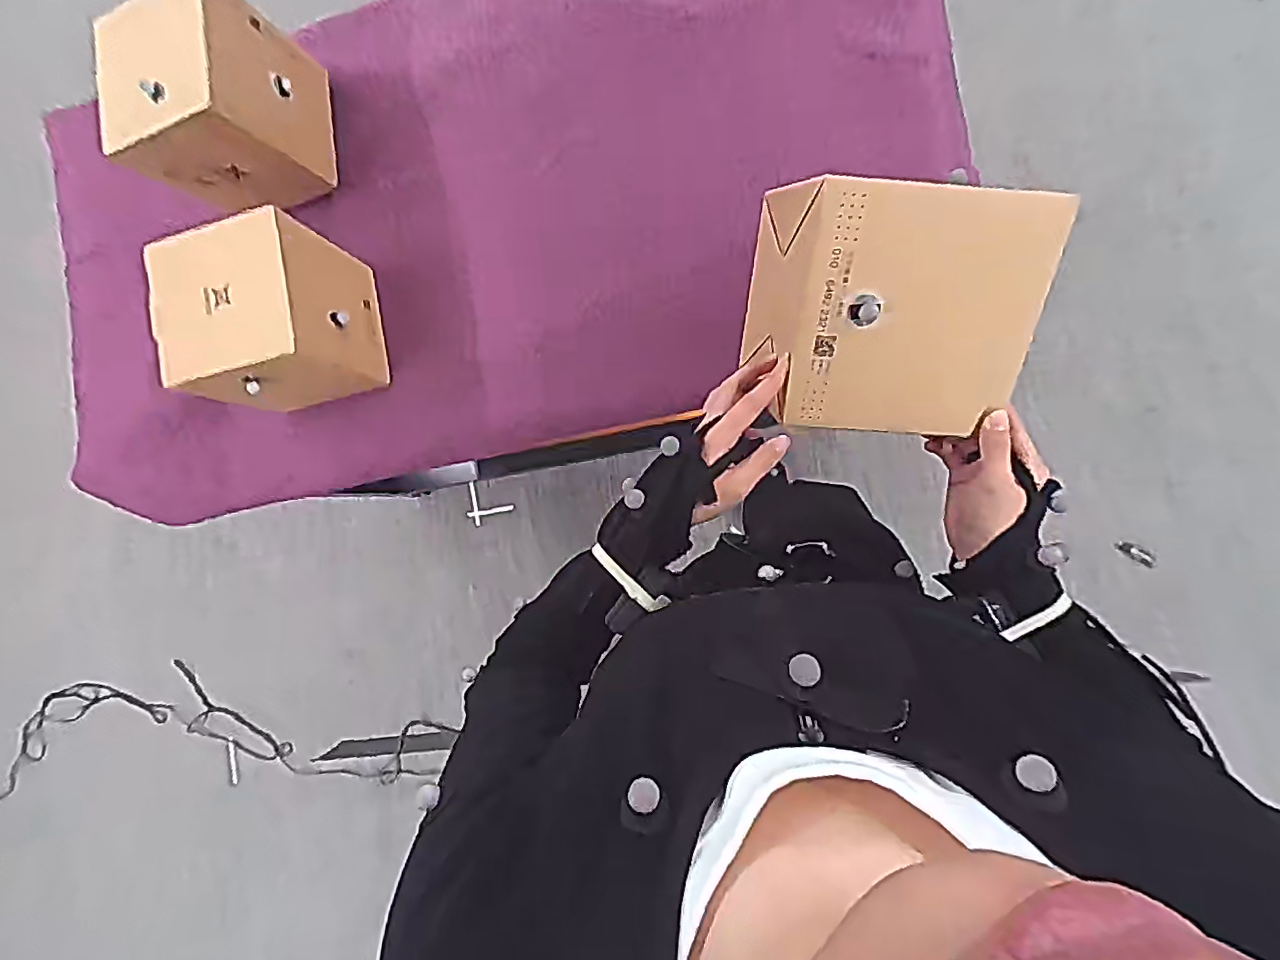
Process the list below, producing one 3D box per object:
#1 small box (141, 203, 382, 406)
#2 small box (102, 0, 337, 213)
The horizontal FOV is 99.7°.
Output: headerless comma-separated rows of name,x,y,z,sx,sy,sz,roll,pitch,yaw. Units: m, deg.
small box,-0.442,-0.198,0.661,0.179,0.176,0.168,-12,86,10
small box,-0.515,-0.463,0.668,0.179,0.168,0.176,-8,86,17
